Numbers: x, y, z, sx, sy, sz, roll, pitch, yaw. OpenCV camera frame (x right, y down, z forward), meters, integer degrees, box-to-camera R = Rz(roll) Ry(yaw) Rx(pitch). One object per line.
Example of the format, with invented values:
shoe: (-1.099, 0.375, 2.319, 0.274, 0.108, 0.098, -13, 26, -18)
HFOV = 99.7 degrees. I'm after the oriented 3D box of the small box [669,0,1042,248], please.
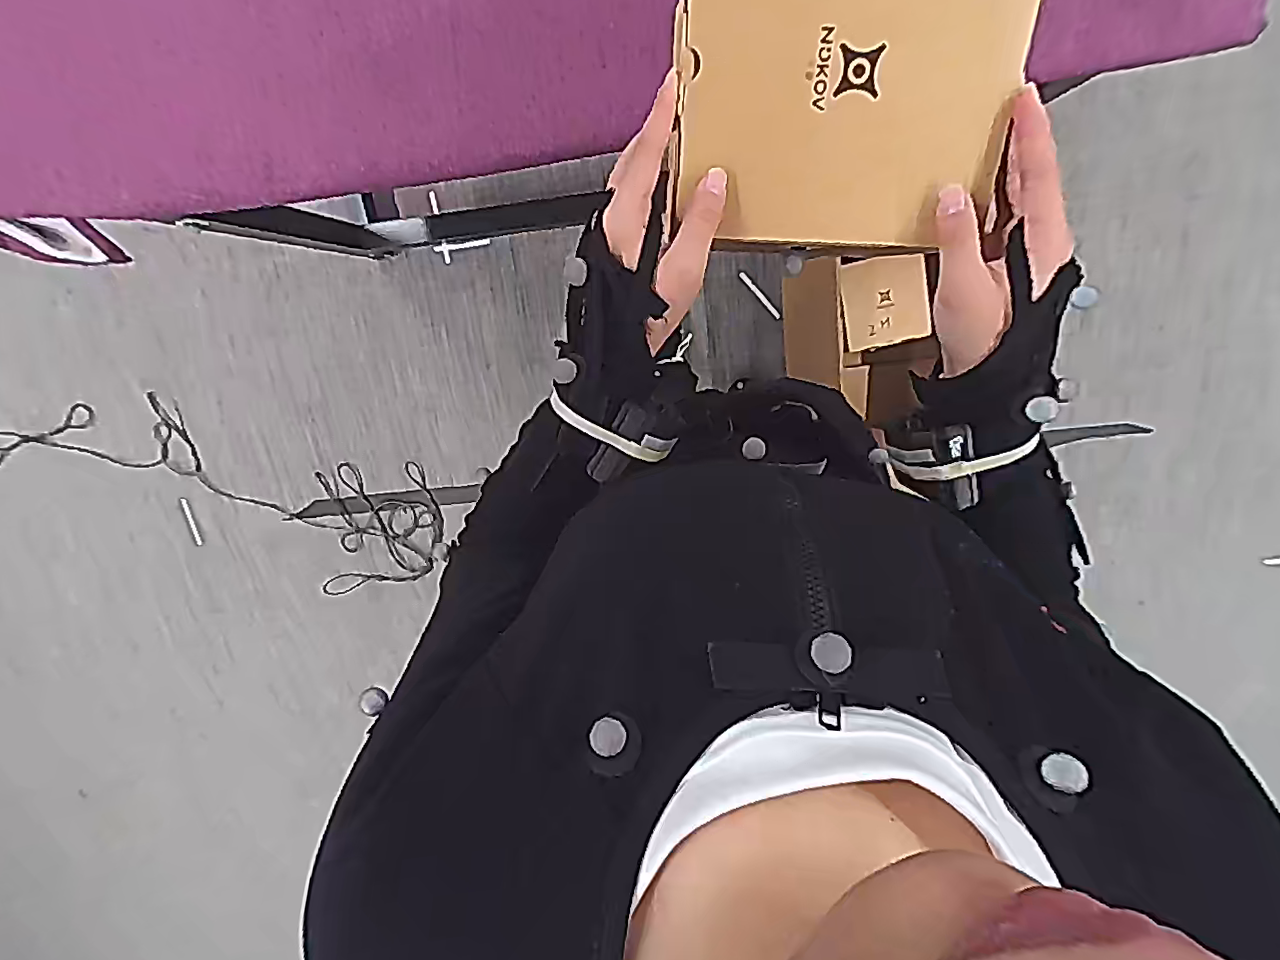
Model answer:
small box: (0.112, -0.243, 0.350, 0.179, 0.176, 0.168, 3, 112, 2)
